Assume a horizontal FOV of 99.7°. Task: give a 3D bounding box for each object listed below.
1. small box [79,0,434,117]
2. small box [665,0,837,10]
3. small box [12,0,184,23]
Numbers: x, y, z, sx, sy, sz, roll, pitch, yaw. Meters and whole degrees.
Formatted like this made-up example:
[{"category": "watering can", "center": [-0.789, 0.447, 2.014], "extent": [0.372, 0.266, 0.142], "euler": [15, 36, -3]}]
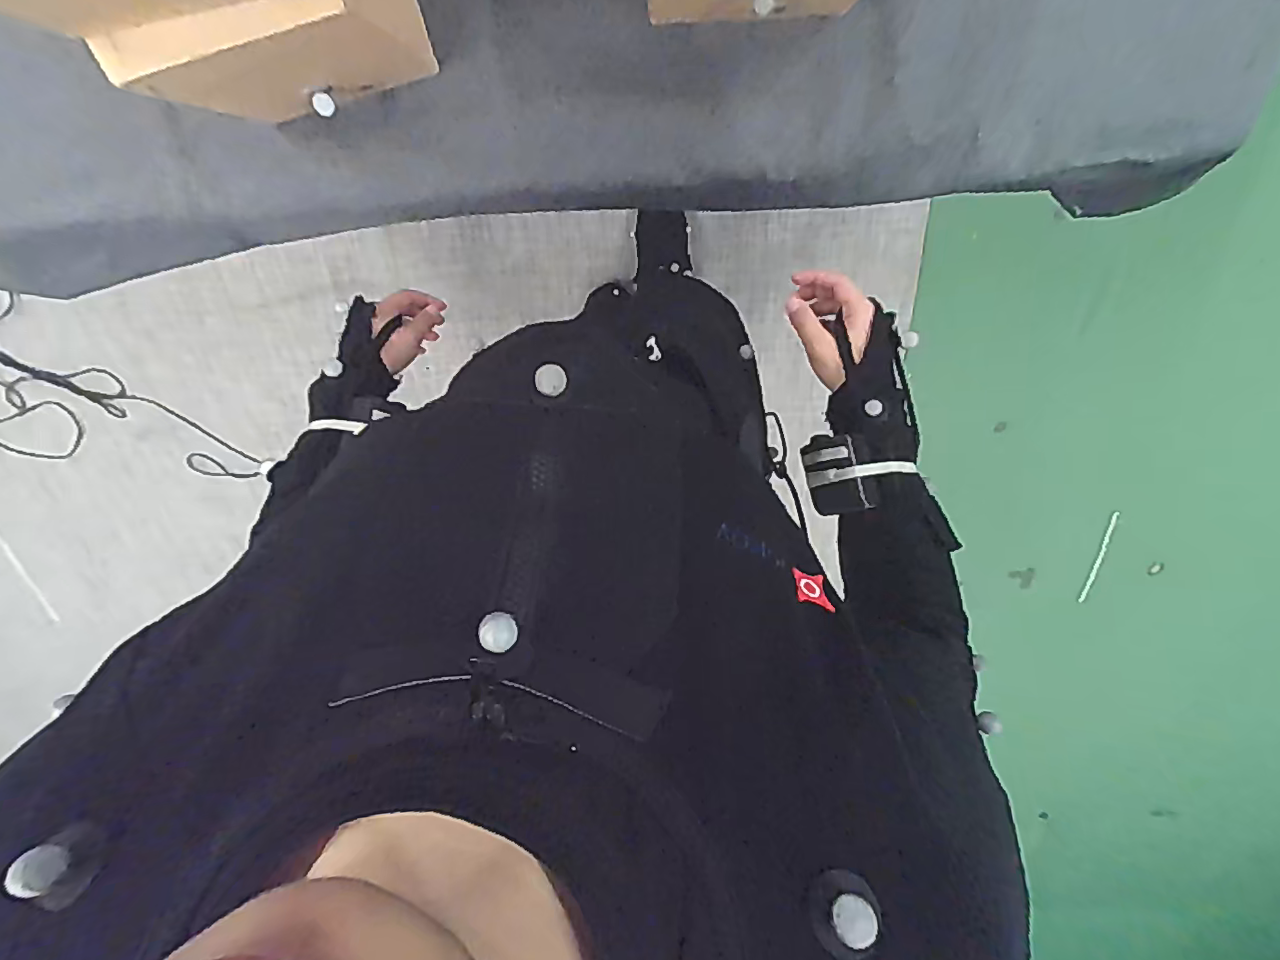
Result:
[{"category": "small box", "center": [-0.270, -0.376, 0.366], "extent": [0.168, 0.176, 0.179], "euler": [-12, 117, 6]}, {"category": "small box", "center": [0.085, -0.428, 0.340], "extent": [0.168, 0.176, 0.179], "euler": [-2, 117, 1]}, {"category": "small box", "center": [-0.267, -0.317, 0.214], "extent": [0.179, 0.176, 0.168], "euler": [-9, 118, 3]}]
